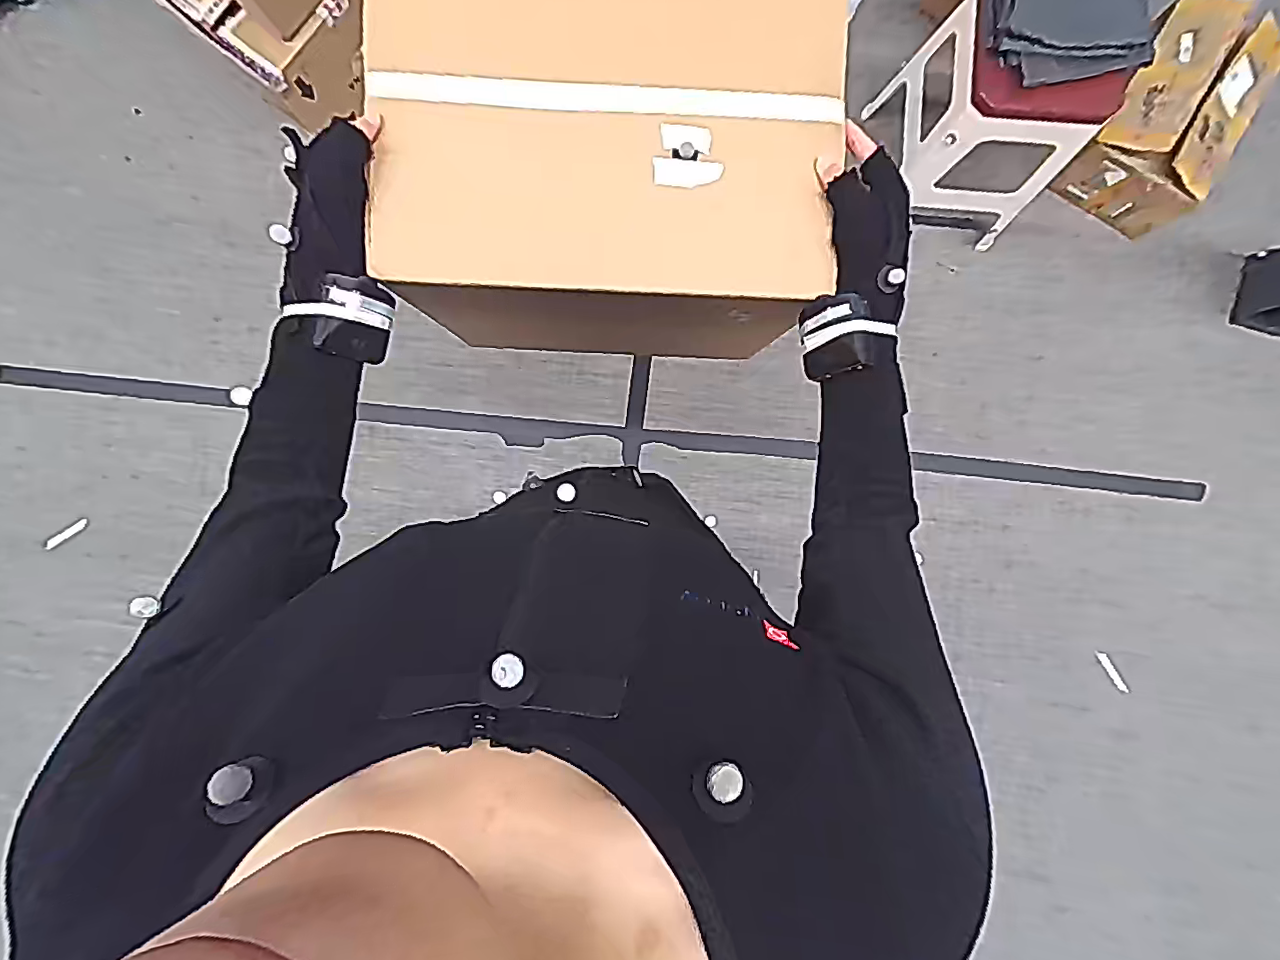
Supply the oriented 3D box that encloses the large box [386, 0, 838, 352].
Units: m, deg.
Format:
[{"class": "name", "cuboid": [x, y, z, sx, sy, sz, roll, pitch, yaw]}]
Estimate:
[{"class": "large box", "cuboid": [-0.031, -0.333, 0.626, 0.408, 0.320, 0.320, 2, 94, -3]}]
